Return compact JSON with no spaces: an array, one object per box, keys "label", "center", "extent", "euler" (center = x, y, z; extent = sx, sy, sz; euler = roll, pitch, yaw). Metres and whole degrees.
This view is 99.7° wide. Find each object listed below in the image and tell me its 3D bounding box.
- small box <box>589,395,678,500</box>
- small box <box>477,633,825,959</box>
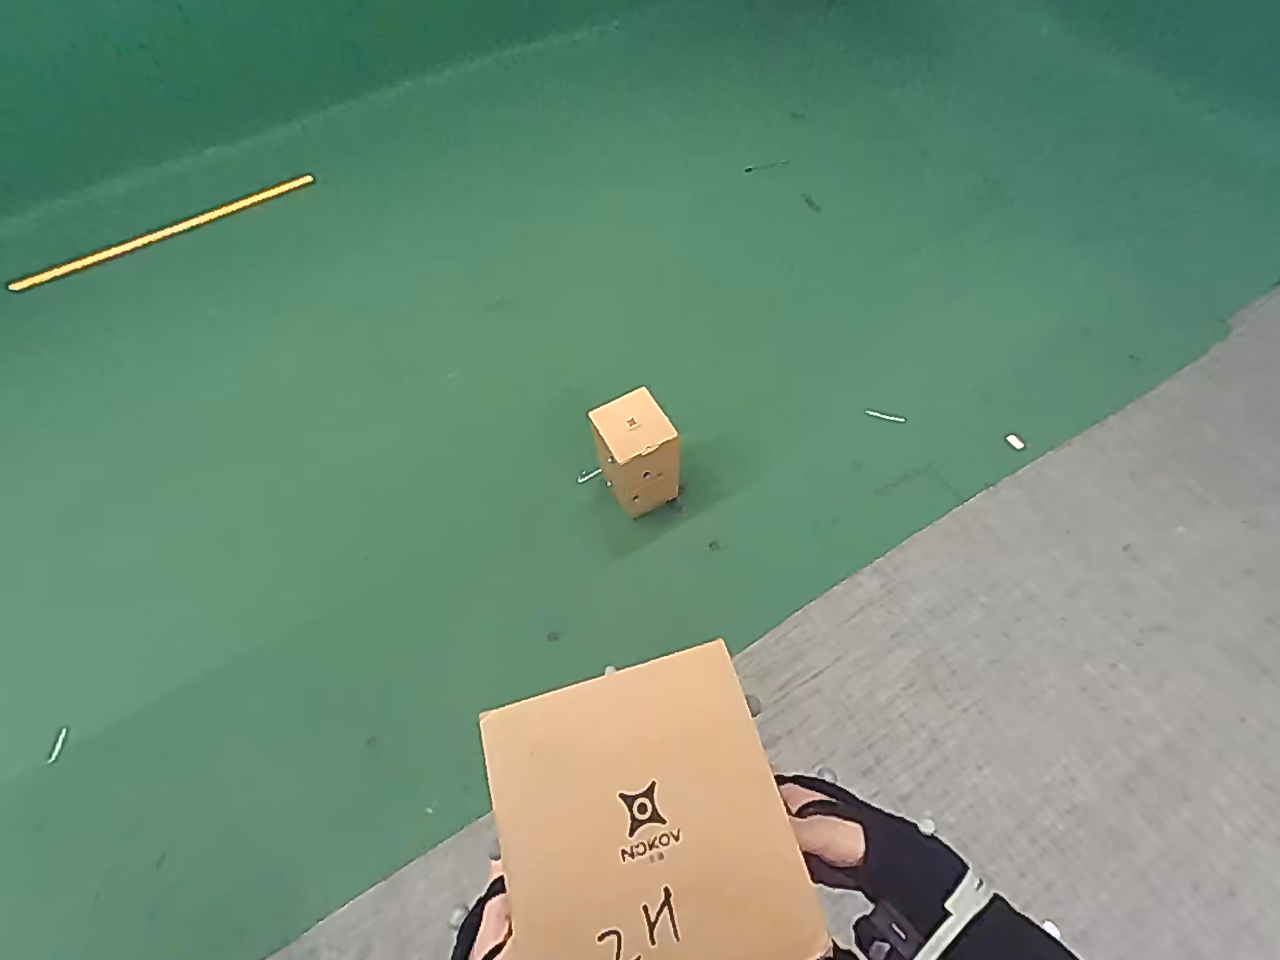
[{"label":"small box","center":[-0.016,-0.079,1.394],"extent":[0.168,0.176,0.179],"euler":[-27,63,-11]},{"label":"small box","center":[-0.005,0.231,0.382],"extent":[0.168,0.176,0.179],"euler":[-14,64,-9]}]
